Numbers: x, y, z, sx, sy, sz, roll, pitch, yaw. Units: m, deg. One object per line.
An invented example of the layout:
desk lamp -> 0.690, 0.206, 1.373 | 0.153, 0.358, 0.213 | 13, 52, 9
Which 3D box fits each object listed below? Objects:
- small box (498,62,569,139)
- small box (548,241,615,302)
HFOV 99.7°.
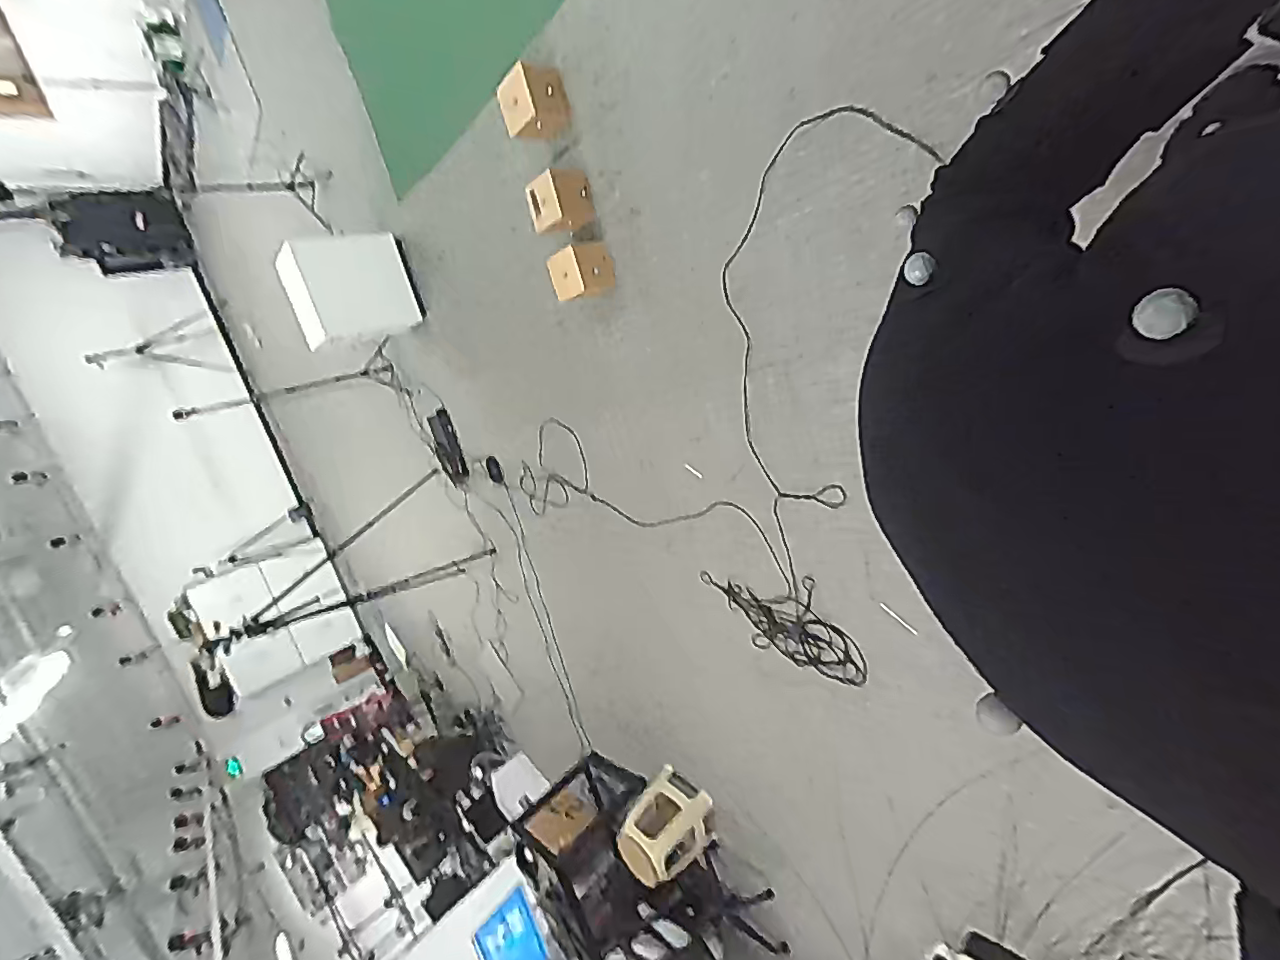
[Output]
small box -> -0.372, -1.352, 1.936 | 0.179, 0.176, 0.168 | -3, 107, 49
small box -> -0.215, -0.799, 2.070 | 0.179, 0.176, 0.168 | -4, 108, 50
